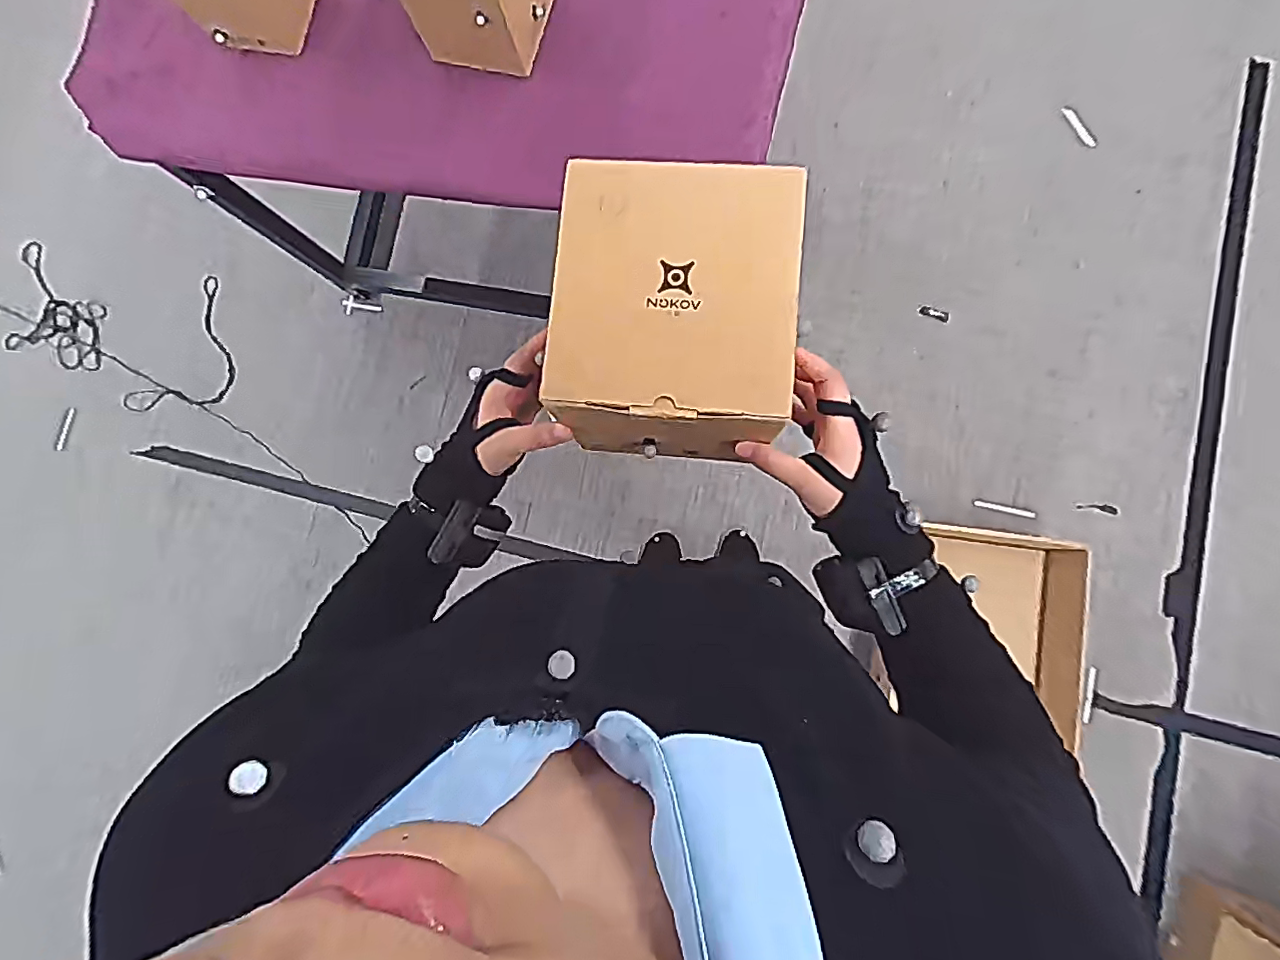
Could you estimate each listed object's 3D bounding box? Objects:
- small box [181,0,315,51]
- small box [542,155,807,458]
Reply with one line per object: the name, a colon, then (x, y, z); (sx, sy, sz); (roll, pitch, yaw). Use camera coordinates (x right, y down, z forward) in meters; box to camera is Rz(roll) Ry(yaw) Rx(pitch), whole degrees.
small box: (-0.663, -0.852, 0.883); (0.168, 0.176, 0.179); (12, 85, 7)
small box: (0.028, -0.122, 0.436); (0.168, 0.176, 0.179); (4, 84, 4)
